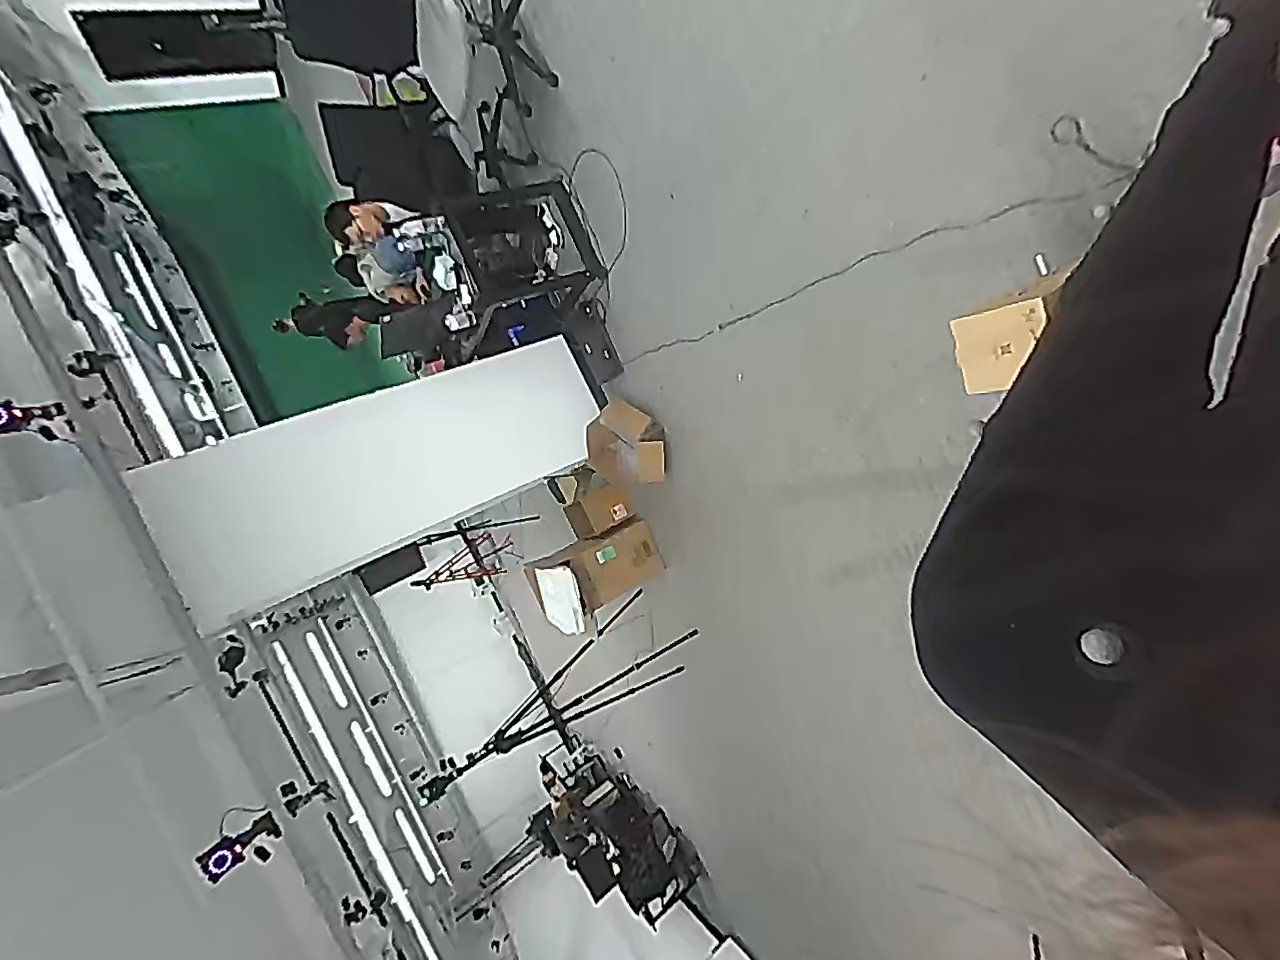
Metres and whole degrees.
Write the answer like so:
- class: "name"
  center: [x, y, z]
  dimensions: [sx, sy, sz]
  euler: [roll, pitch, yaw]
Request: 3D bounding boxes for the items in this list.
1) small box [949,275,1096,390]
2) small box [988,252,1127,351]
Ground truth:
- class: "small box"
  center: [0.777, -0.296, 1.102]
  dimensions: [0.179, 0.176, 0.168]
  euler: [1, 115, 62]
- class: "small box"
  center: [0.907, -0.365, 1.176]
  dimensions: [0.168, 0.176, 0.179]
  euler: [-15, 101, 64]
